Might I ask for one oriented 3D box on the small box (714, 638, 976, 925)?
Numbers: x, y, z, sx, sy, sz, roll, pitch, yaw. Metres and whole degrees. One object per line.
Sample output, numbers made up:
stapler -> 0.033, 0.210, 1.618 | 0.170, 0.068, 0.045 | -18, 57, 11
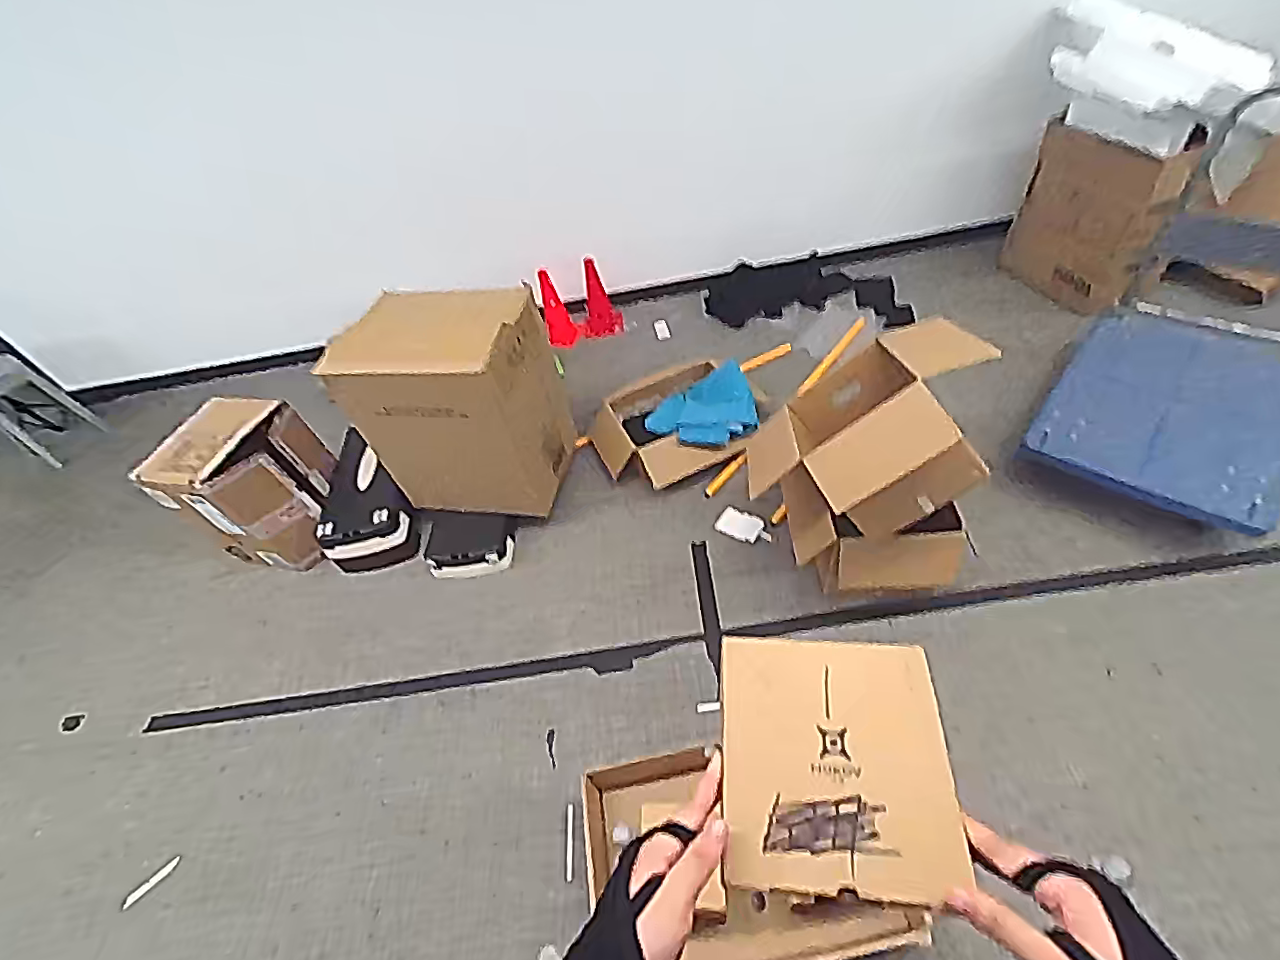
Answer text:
small box -> 0.148, 0.252, 0.461 | 0.168, 0.176, 0.179 | 0, 54, 8

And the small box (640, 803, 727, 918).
small box -> 0.092, 0.793, 1.128 | 0.168, 0.176, 0.179 | -4, 48, 6
